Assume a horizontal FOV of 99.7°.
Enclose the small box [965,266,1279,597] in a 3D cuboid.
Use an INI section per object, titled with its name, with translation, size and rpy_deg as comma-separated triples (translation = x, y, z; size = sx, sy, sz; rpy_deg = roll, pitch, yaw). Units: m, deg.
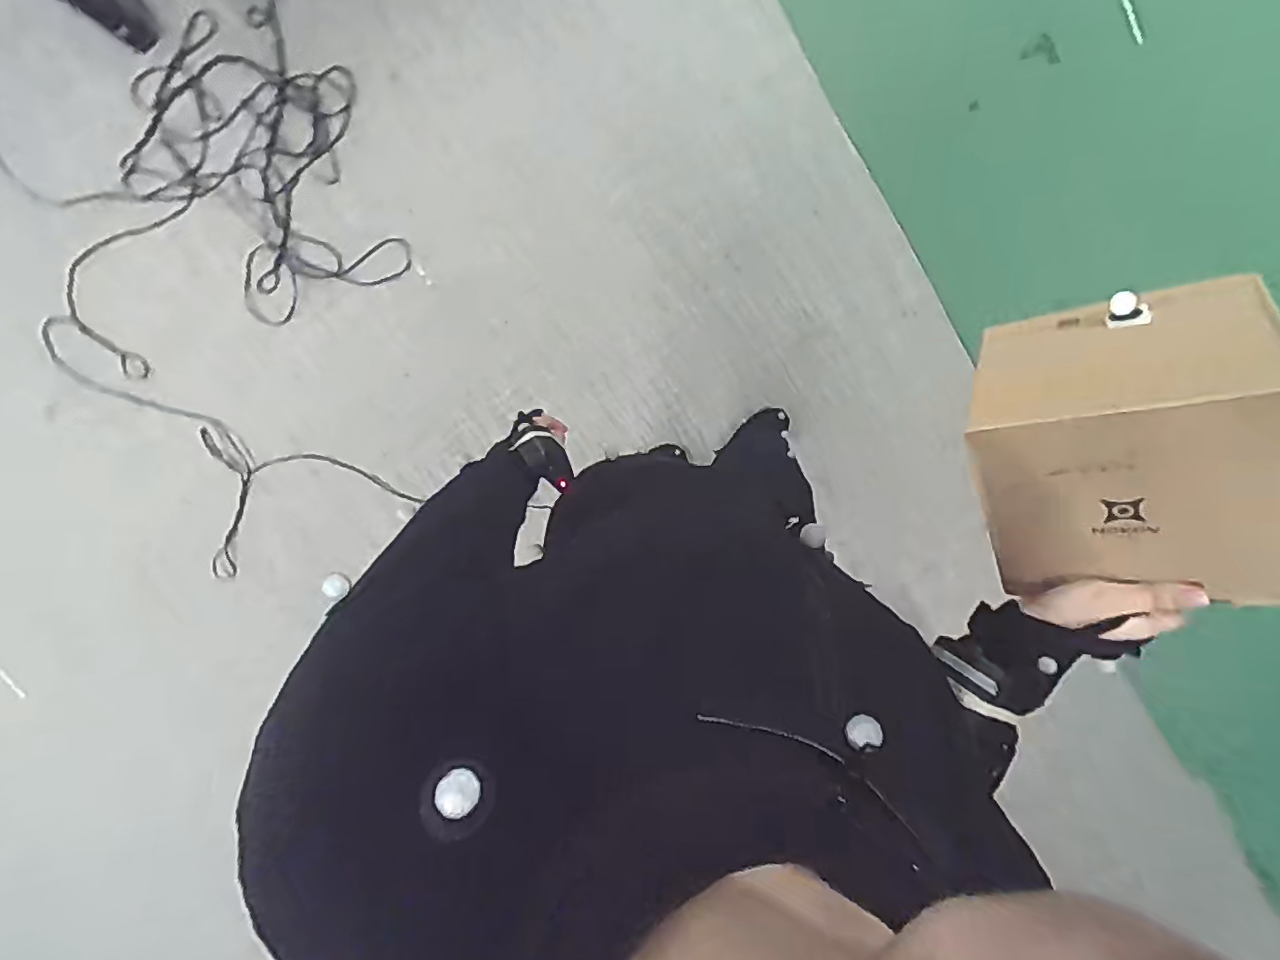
[small box]
translation = 0.372, -0.033, 0.420
size = 0.168, 0.176, 0.179
rpy_deg = -9, 121, 41
